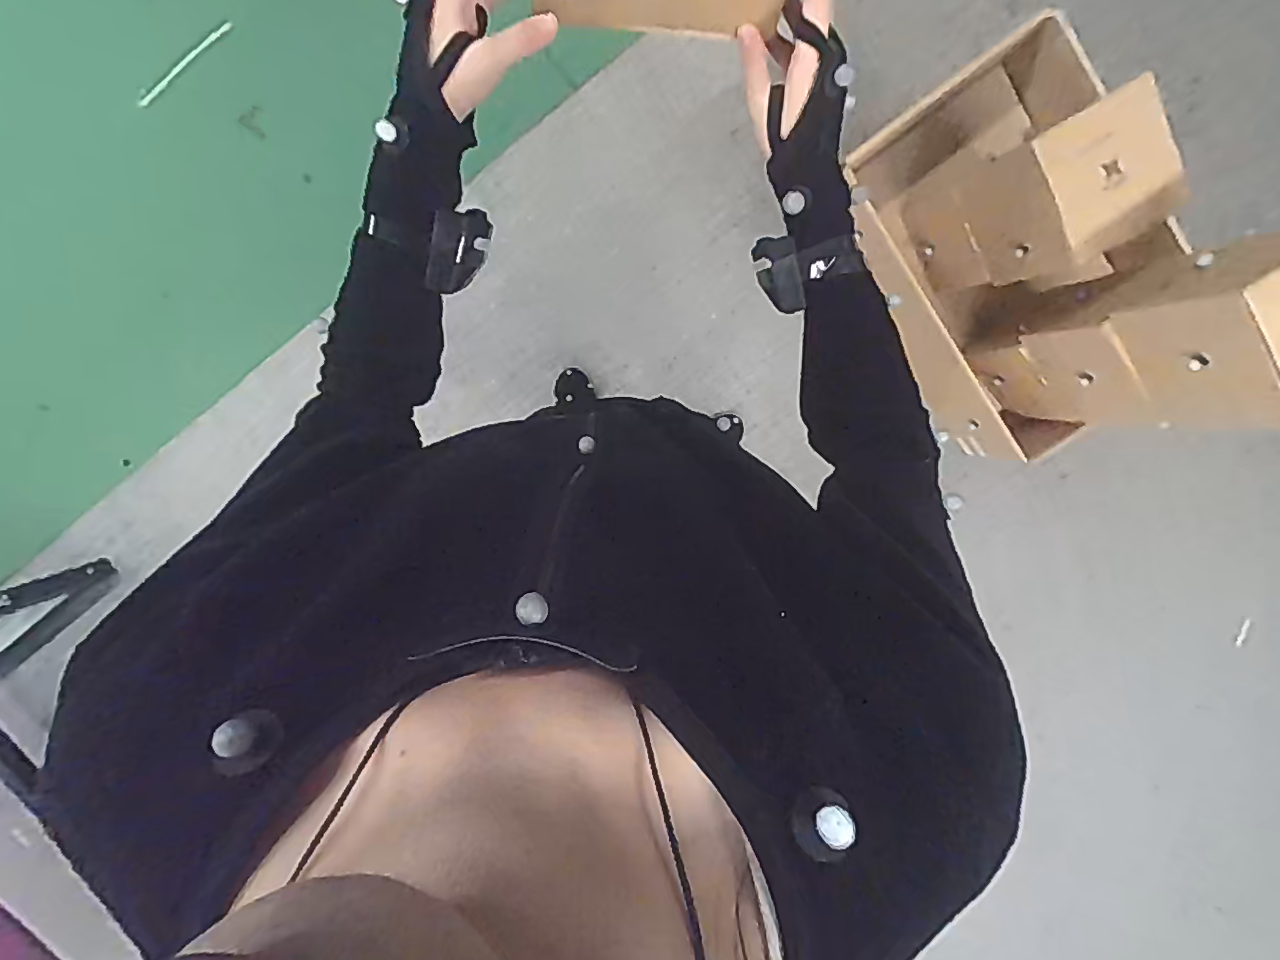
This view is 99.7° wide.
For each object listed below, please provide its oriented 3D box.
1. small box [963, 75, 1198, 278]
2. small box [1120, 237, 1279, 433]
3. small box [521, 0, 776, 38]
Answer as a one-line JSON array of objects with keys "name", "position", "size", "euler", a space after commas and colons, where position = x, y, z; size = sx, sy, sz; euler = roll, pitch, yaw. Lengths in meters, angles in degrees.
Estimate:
[{"name": "small box", "position": [0.606, -0.405, 0.764], "size": [0.168, 0.176, 0.179], "euler": [-29, 100, 4]}, {"name": "small box", "position": [0.735, -0.175, 0.634], "size": [0.168, 0.176, 0.179], "euler": [-32, 97, 6]}, {"name": "small box", "position": [0.009, -0.421, 0.332], "size": [0.179, 0.168, 0.176], "euler": [-1, 71, -7]}]
